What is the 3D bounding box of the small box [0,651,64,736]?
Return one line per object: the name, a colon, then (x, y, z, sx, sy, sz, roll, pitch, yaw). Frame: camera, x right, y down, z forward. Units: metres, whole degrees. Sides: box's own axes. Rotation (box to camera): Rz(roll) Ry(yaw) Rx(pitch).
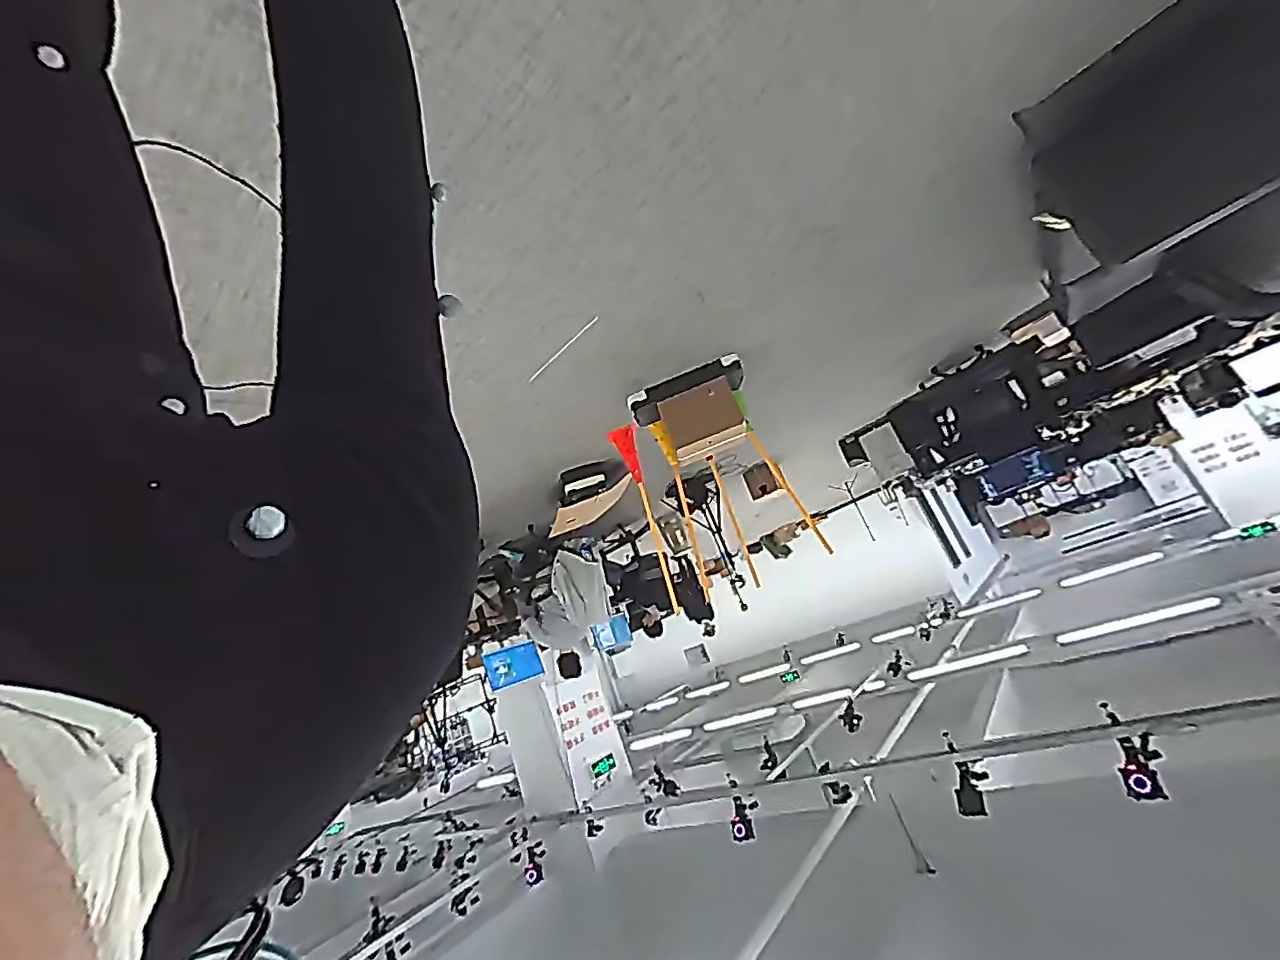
small box: (-1.683, 0.574, 1.437, 0.168, 0.176, 0.179, -29, 162, 26)
